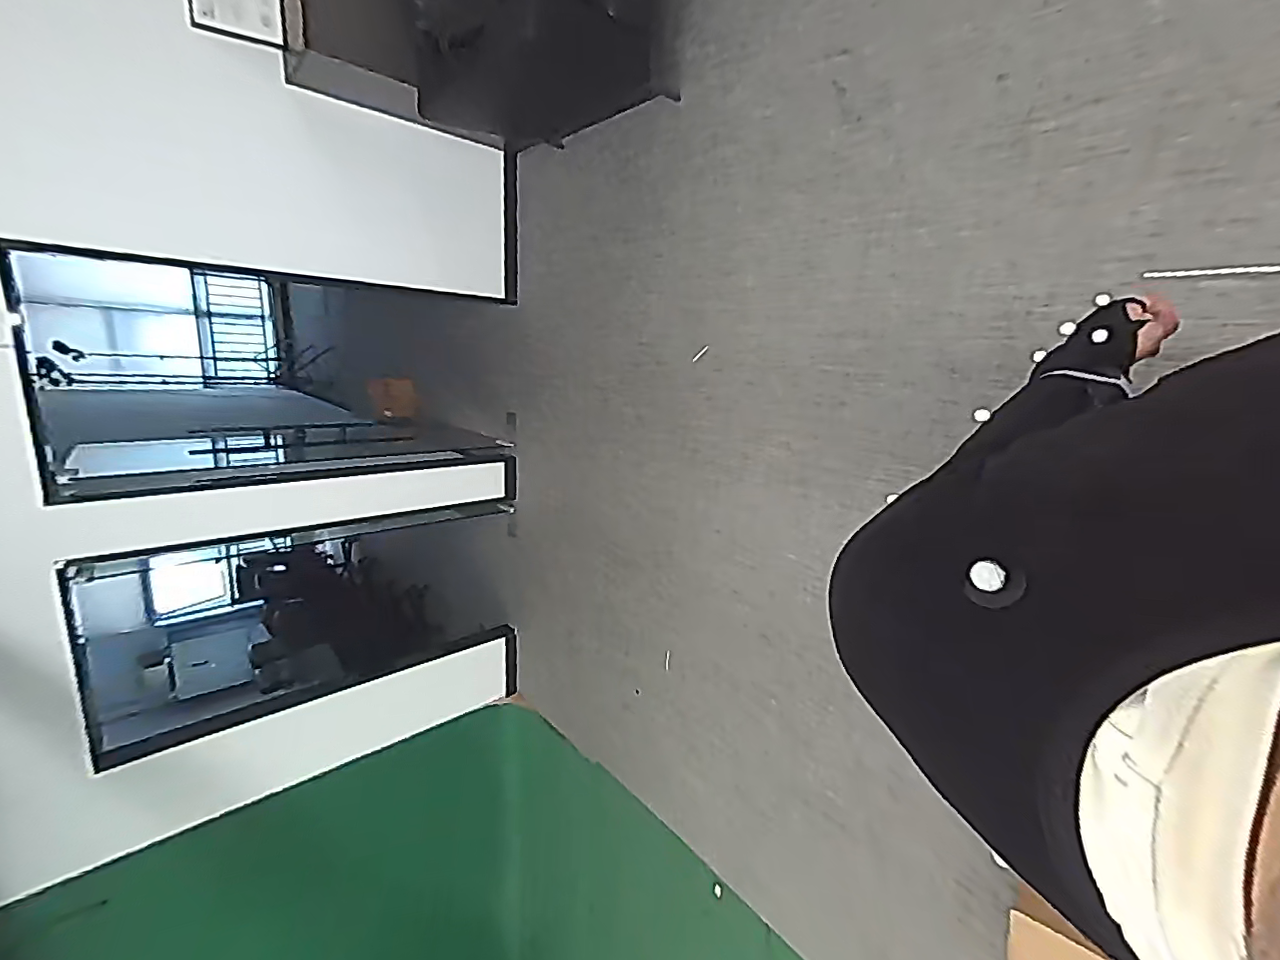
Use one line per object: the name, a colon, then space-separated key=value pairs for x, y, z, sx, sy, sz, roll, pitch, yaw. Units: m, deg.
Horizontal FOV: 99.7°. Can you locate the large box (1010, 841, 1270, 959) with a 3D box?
large box: x=1.123 y=1.141 z=1.230 sx=0.408 sy=0.320 sz=0.320 roll=5 pitch=99 yaw=49
